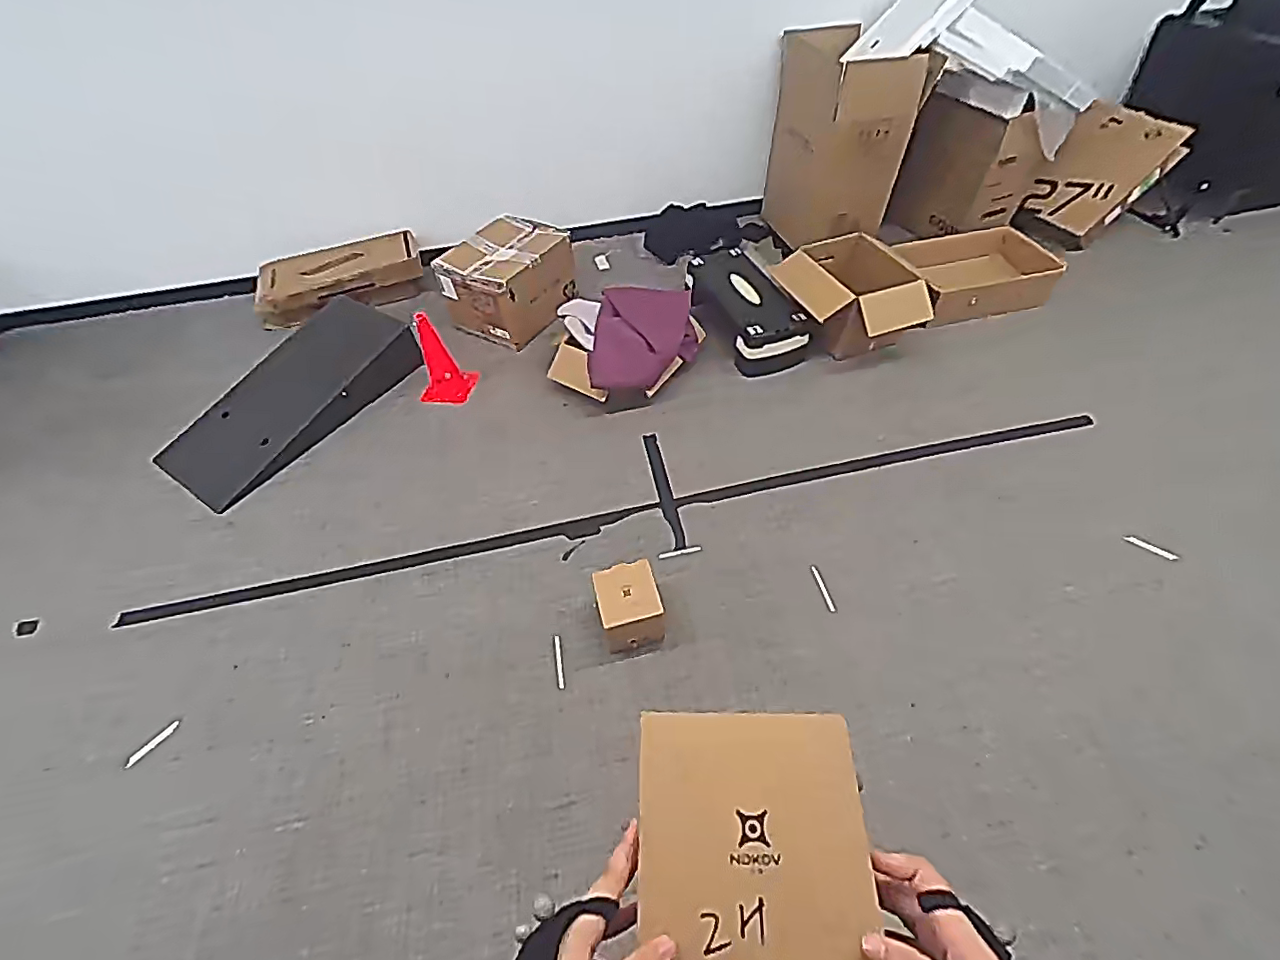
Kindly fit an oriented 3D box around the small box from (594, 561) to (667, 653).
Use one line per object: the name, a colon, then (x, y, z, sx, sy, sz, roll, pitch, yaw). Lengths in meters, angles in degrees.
small box: (-0.026, 0.358, 1.520, 0.168, 0.176, 0.179, -15, 52, -6)
